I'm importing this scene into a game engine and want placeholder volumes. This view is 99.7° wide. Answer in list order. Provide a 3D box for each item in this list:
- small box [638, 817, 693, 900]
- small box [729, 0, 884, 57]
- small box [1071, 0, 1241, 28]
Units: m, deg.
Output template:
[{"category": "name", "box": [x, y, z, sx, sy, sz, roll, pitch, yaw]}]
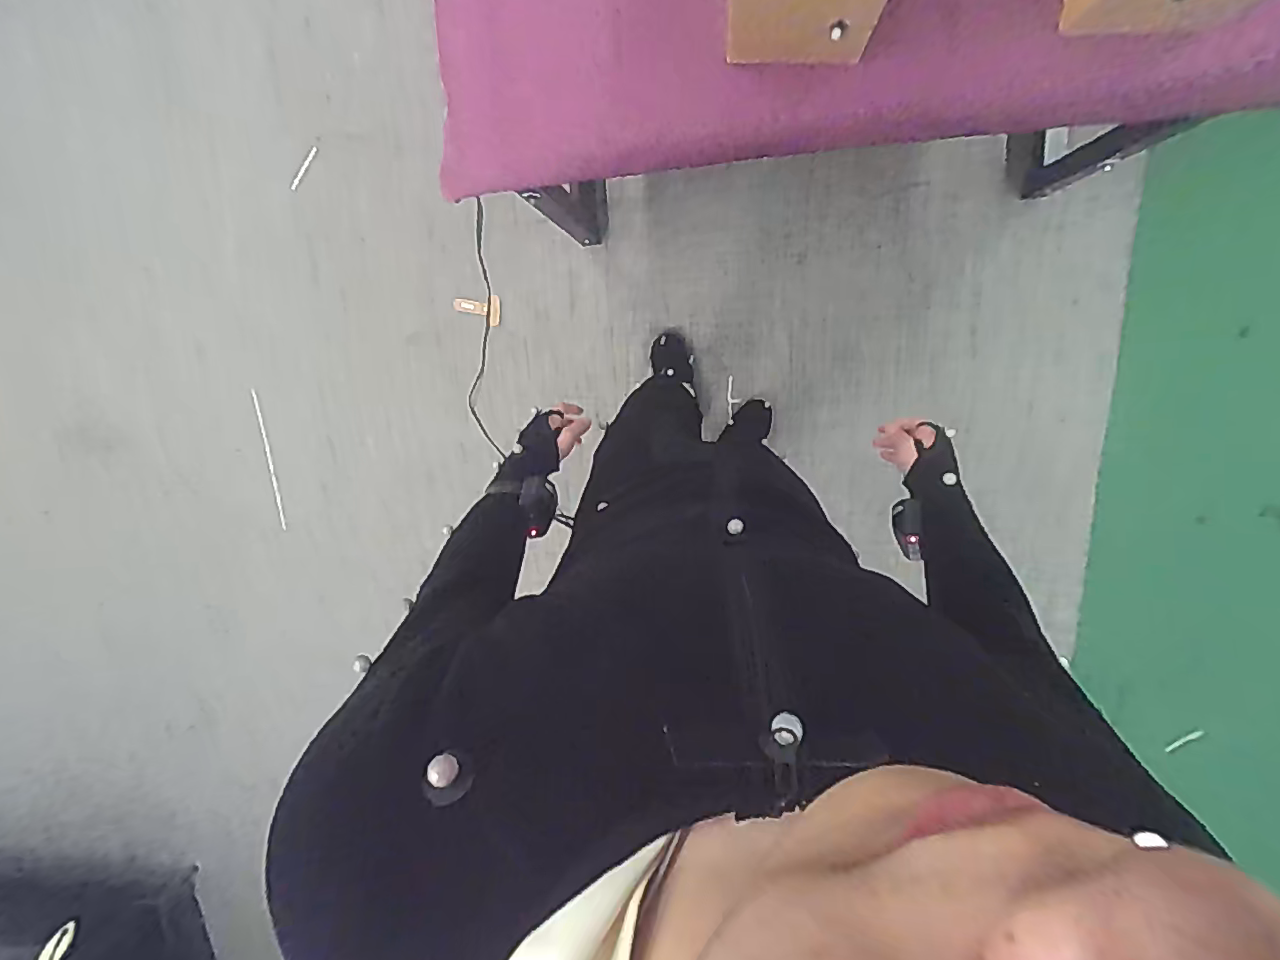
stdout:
[{"category": "small box", "box": [0.092, 1.295, 1.858, 0.179, 0.176, 0.168, -1, 103, 8]}, {"category": "small box", "box": [0.202, -0.627, 0.626, 0.179, 0.176, 0.168, 7, 103, 7]}, {"category": "small box", "box": [0.608, -0.619, 0.570, 0.179, 0.176, 0.168, 4, 103, 8]}]
